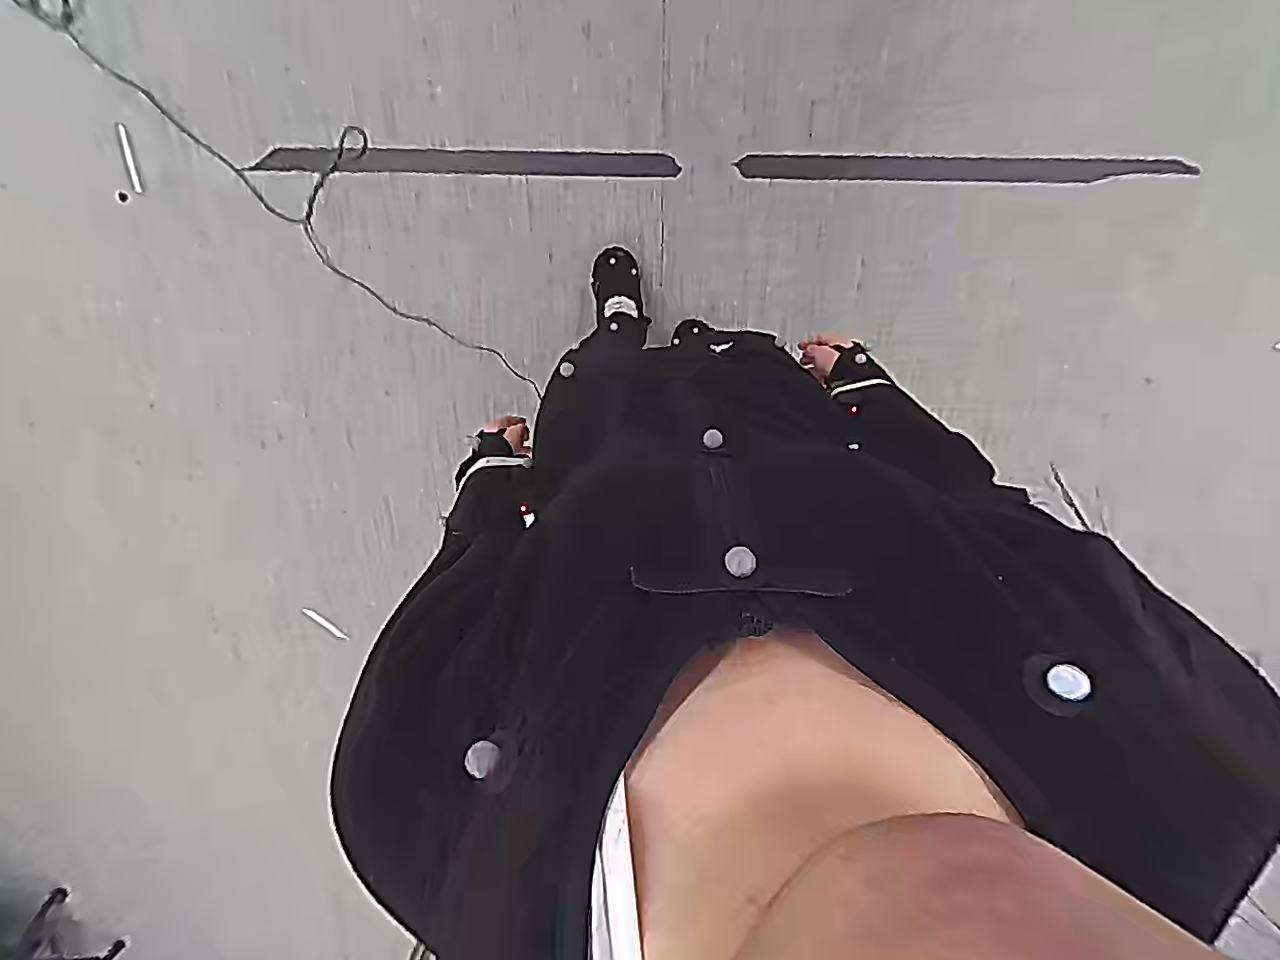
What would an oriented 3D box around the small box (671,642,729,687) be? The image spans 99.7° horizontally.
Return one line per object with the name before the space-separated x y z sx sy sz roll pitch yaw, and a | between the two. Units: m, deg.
small box | 0.183 0.619 1.678 0.168 0.176 0.179 -3 111 3
